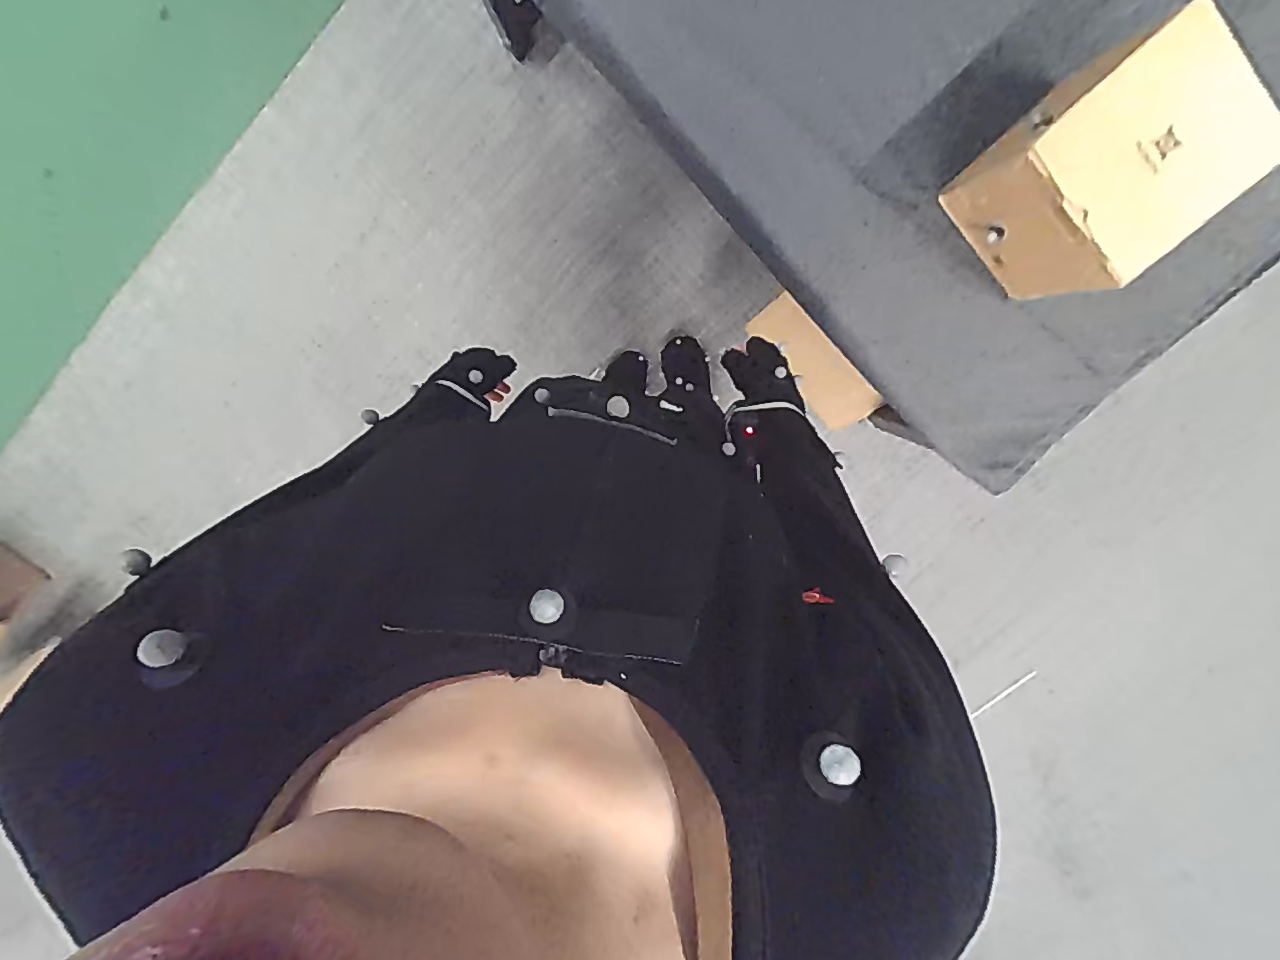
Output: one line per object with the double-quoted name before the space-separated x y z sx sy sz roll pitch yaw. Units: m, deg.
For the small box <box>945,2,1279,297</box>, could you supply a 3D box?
"small box" 0.472 -0.317 0.567 0.179 0.176 0.168 -42 100 11
